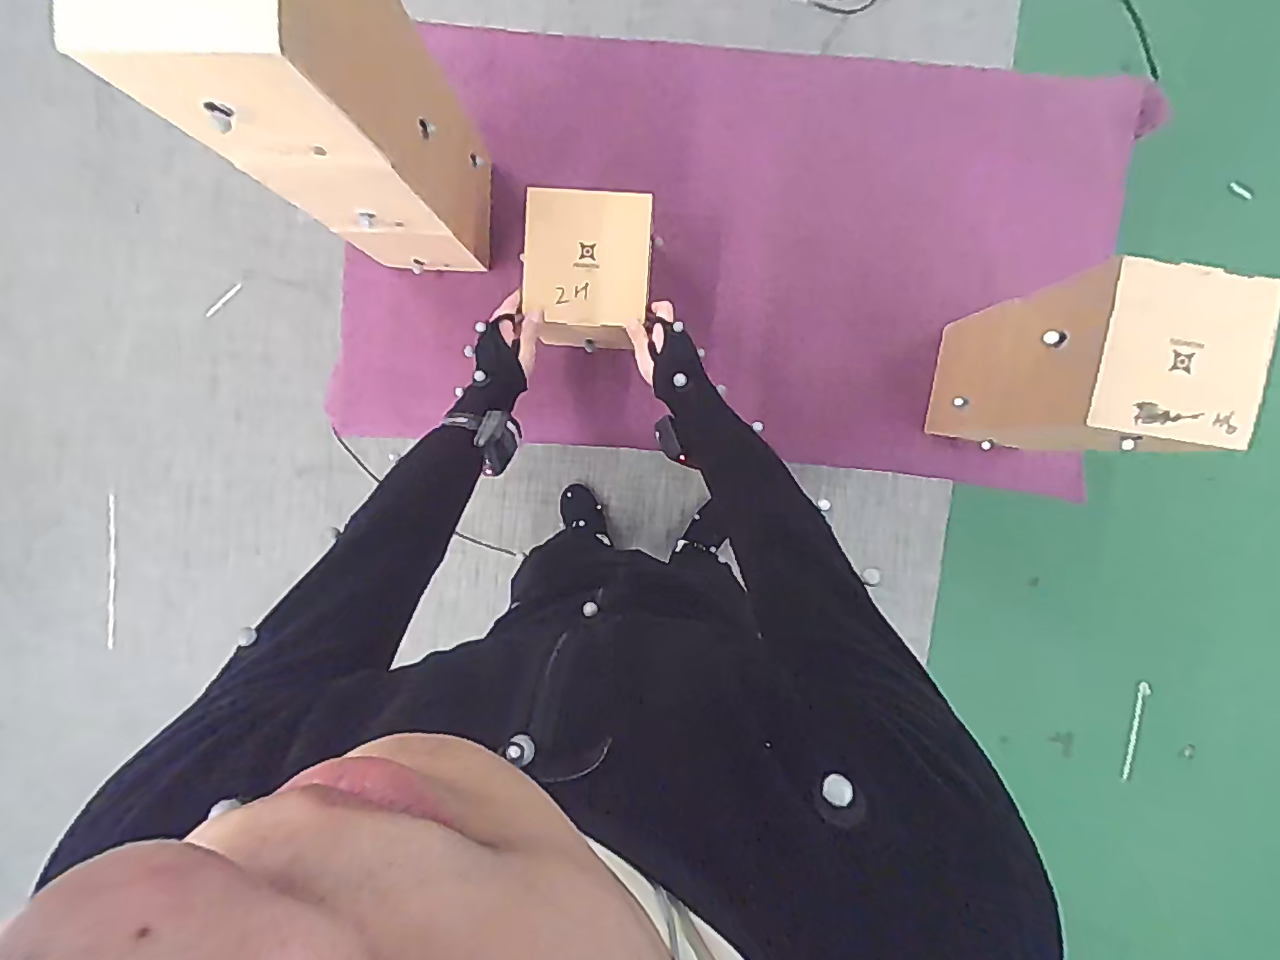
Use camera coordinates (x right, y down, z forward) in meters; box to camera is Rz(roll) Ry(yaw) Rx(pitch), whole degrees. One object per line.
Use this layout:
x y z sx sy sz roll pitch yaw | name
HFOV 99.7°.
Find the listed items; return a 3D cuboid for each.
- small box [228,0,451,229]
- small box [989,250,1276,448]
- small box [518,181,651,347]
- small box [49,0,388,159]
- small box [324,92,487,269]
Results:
-0.327 -0.411 0.617 0.168 0.176 0.179 2 95 1 | small box
0.542 -0.136 0.624 0.168 0.176 0.179 10 93 1 | small box
-0.073 -0.302 0.786 0.168 0.176 0.179 4 95 1 | small box
-0.330 -0.398 0.455 0.168 0.176 0.179 2 94 2 | small box
-0.326 -0.423 0.780 0.168 0.176 0.179 3 95 1 | small box
